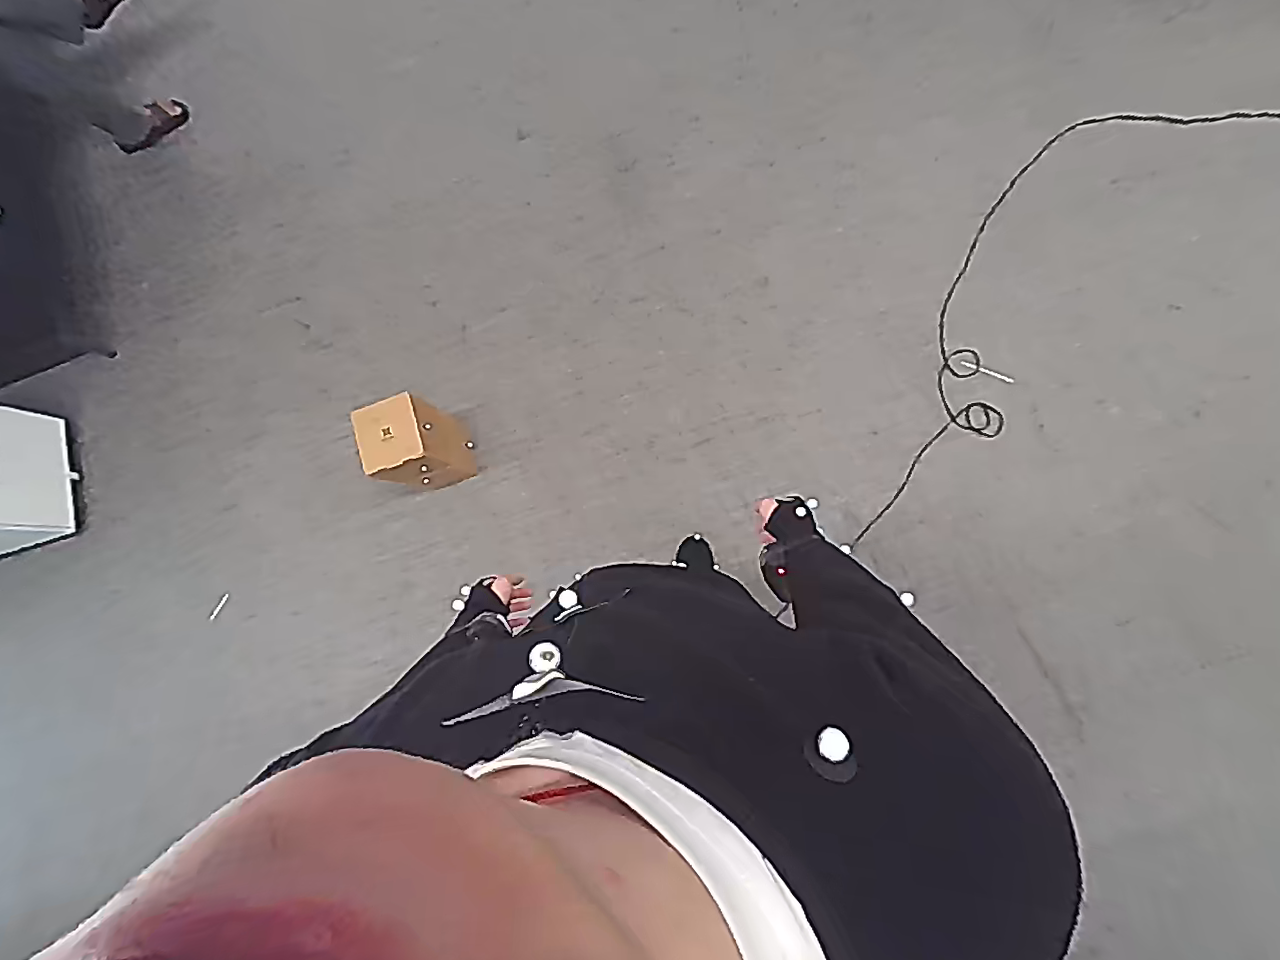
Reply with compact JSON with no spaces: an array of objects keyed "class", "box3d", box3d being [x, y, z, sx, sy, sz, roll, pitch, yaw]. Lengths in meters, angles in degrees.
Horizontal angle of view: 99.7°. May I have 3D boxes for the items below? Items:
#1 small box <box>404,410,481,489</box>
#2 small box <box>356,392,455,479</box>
[{"class":"small box","box3d":[-0.597,-0.086,1.607,0.168,0.176,0.179,-17,80,6]},{"class":"small box","box3d":[-0.620,-0.110,1.449,0.168,0.176,0.179,-19,79,4]}]
